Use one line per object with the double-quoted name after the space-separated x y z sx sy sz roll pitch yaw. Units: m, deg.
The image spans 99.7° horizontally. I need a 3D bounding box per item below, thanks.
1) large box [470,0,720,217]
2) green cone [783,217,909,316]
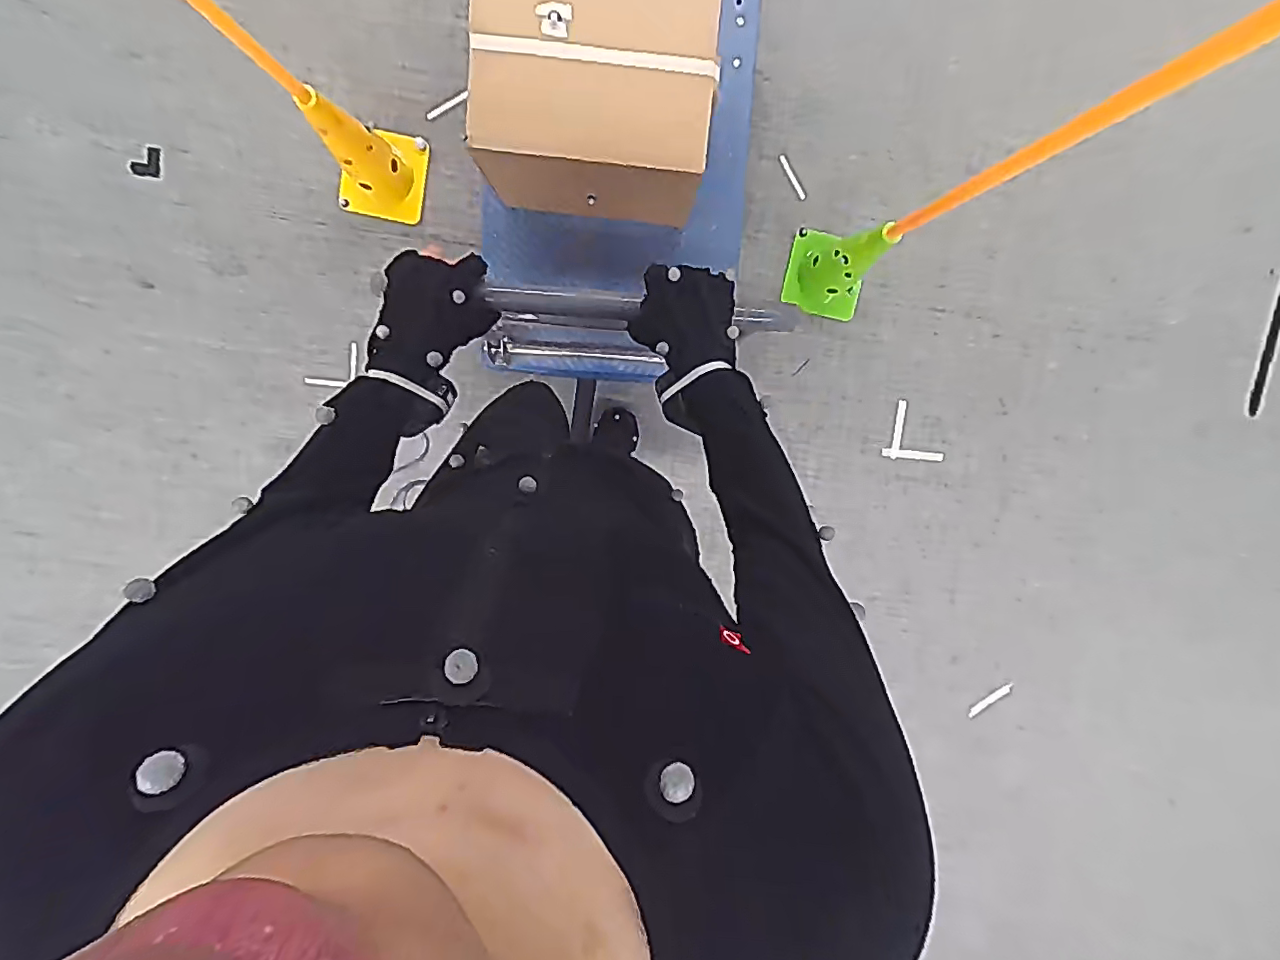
-0.076 -0.722 1.032 0.408 0.320 0.320 5 99 -2 "large box"
0.492 -0.517 1.231 0.202 0.368 0.200 11 98 -5 "green cone"
